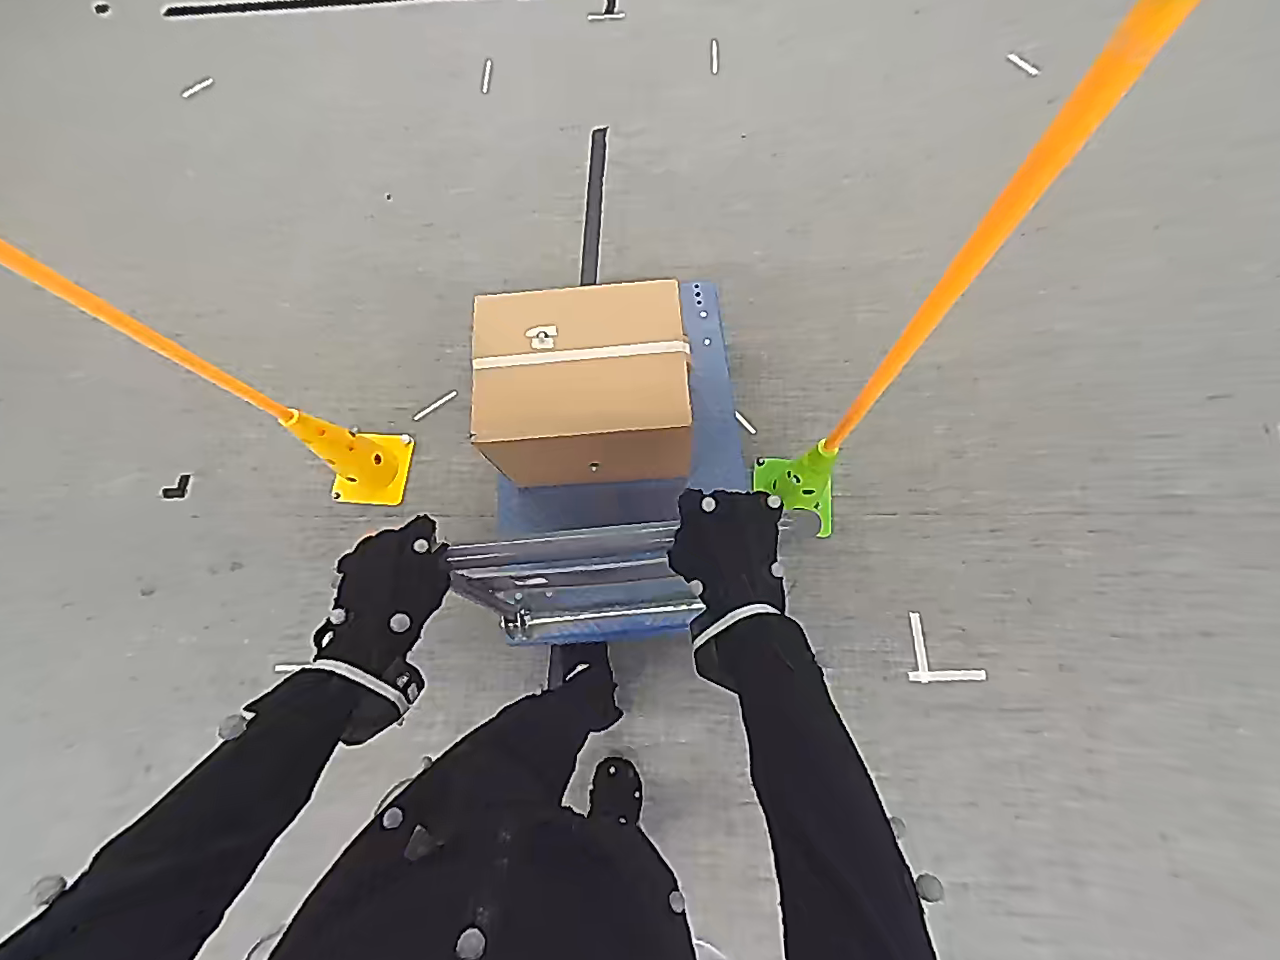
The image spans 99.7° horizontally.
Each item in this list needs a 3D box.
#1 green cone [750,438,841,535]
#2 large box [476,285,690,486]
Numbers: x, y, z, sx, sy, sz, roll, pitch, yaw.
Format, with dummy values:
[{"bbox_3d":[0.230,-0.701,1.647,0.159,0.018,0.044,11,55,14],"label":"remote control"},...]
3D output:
[{"bbox_3d":[0.382,-0.009,1.244,0.202,0.368,0.200,5,74,4],"label":"green cone"},{"bbox_3d":[-0.105,-0.183,1.178,0.408,0.320,0.320,-4,73,3],"label":"large box"}]
